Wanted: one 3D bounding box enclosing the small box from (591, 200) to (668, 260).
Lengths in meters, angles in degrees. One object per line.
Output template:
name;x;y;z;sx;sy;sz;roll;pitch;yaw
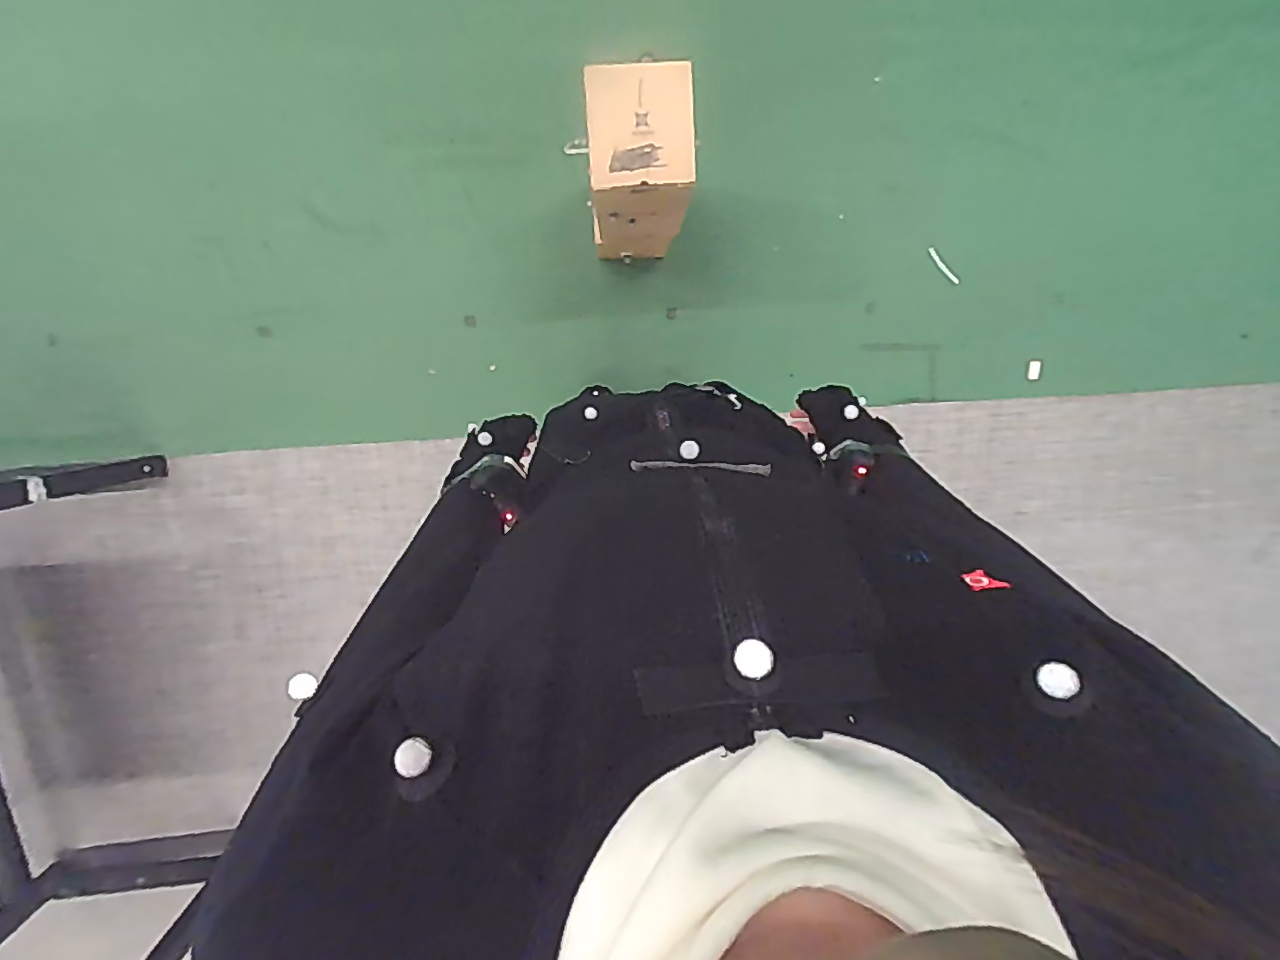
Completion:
small box;-0.023;-0.607;1.214;0.168;0.176;0.179;0;101;-1

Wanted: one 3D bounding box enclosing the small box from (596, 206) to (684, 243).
small box;-0.007;-0.587;1.071;0.168;0.176;0.179;-3;100;-1

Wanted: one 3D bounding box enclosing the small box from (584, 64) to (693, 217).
small box;-0.003;-0.555;0.910;0.168;0.176;0.179;-3;100;-2
